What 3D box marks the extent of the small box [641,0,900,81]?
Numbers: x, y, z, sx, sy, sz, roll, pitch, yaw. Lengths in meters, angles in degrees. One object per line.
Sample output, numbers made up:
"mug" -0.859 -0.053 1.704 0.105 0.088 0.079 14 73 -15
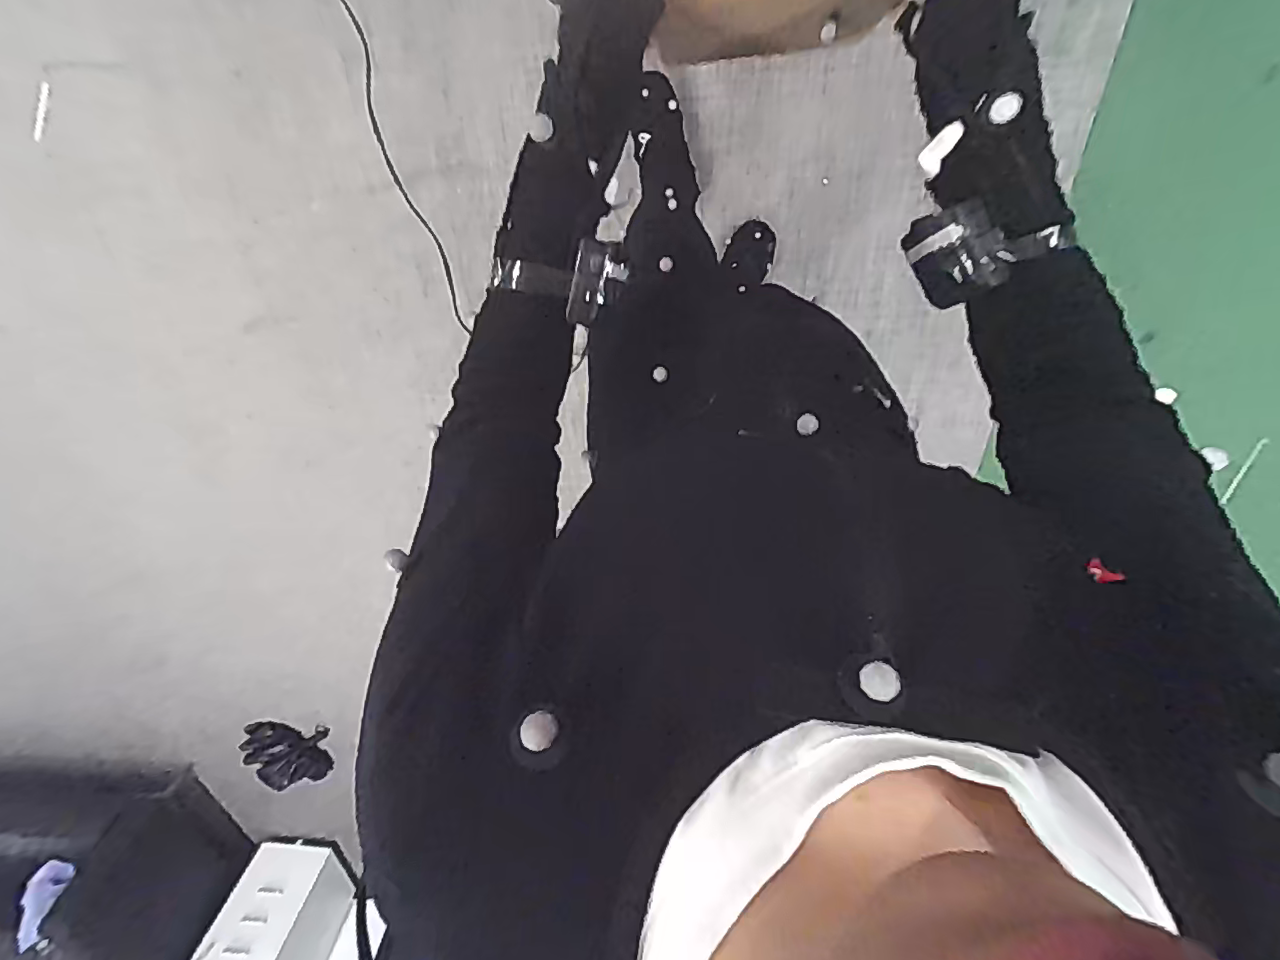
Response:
"small box" 0.089 -0.411 0.383 0.179 0.176 0.168 -2 113 8
